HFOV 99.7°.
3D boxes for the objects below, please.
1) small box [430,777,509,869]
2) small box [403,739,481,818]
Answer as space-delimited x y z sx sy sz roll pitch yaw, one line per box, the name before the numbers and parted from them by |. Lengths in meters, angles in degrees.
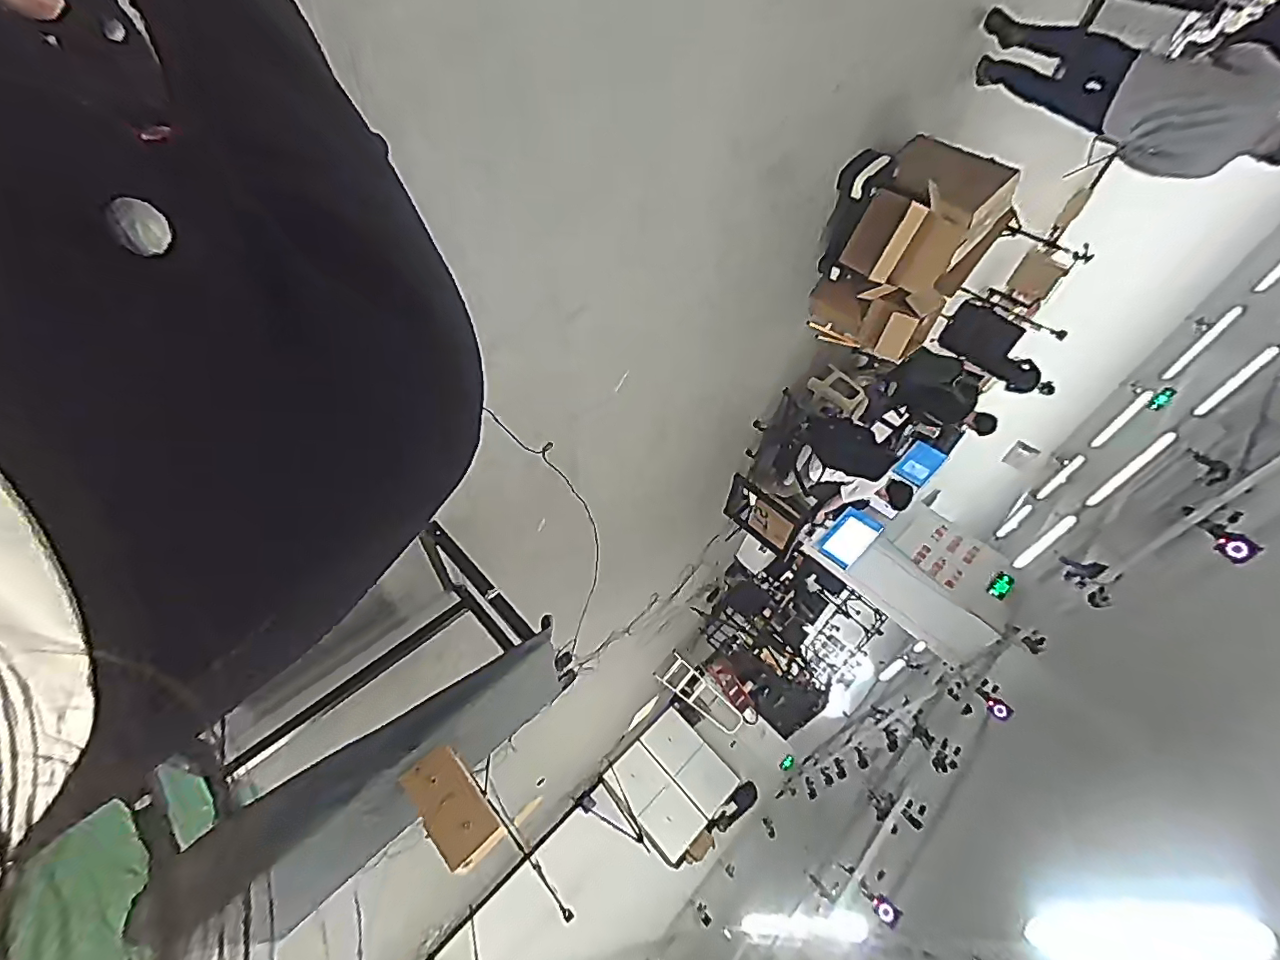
small box | -0.549 1.096 1.730 0.179 0.176 0.168 -37 154 -29
small box | -0.660 0.998 1.801 0.168 0.176 0.179 -37 153 -27
